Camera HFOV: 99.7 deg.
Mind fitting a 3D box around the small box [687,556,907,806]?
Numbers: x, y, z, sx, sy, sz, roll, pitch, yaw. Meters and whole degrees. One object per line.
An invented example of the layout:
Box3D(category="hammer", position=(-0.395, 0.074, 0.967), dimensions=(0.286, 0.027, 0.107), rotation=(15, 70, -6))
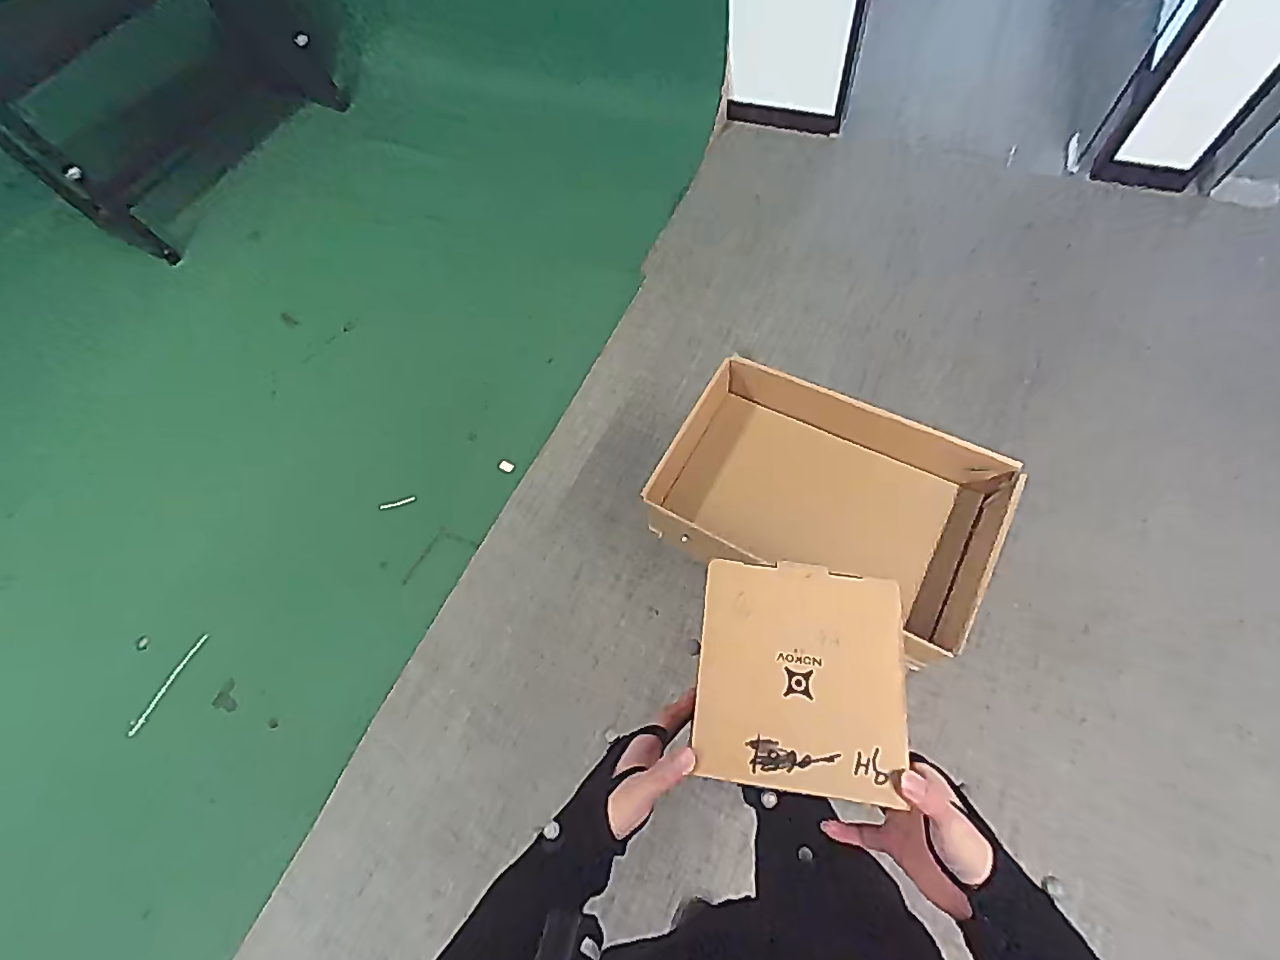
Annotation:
Box3D(category="small box", position=(0.135, 0.189, 0.517), dimensions=(0.168, 0.176, 0.179), rotation=(6, 66, 7))
